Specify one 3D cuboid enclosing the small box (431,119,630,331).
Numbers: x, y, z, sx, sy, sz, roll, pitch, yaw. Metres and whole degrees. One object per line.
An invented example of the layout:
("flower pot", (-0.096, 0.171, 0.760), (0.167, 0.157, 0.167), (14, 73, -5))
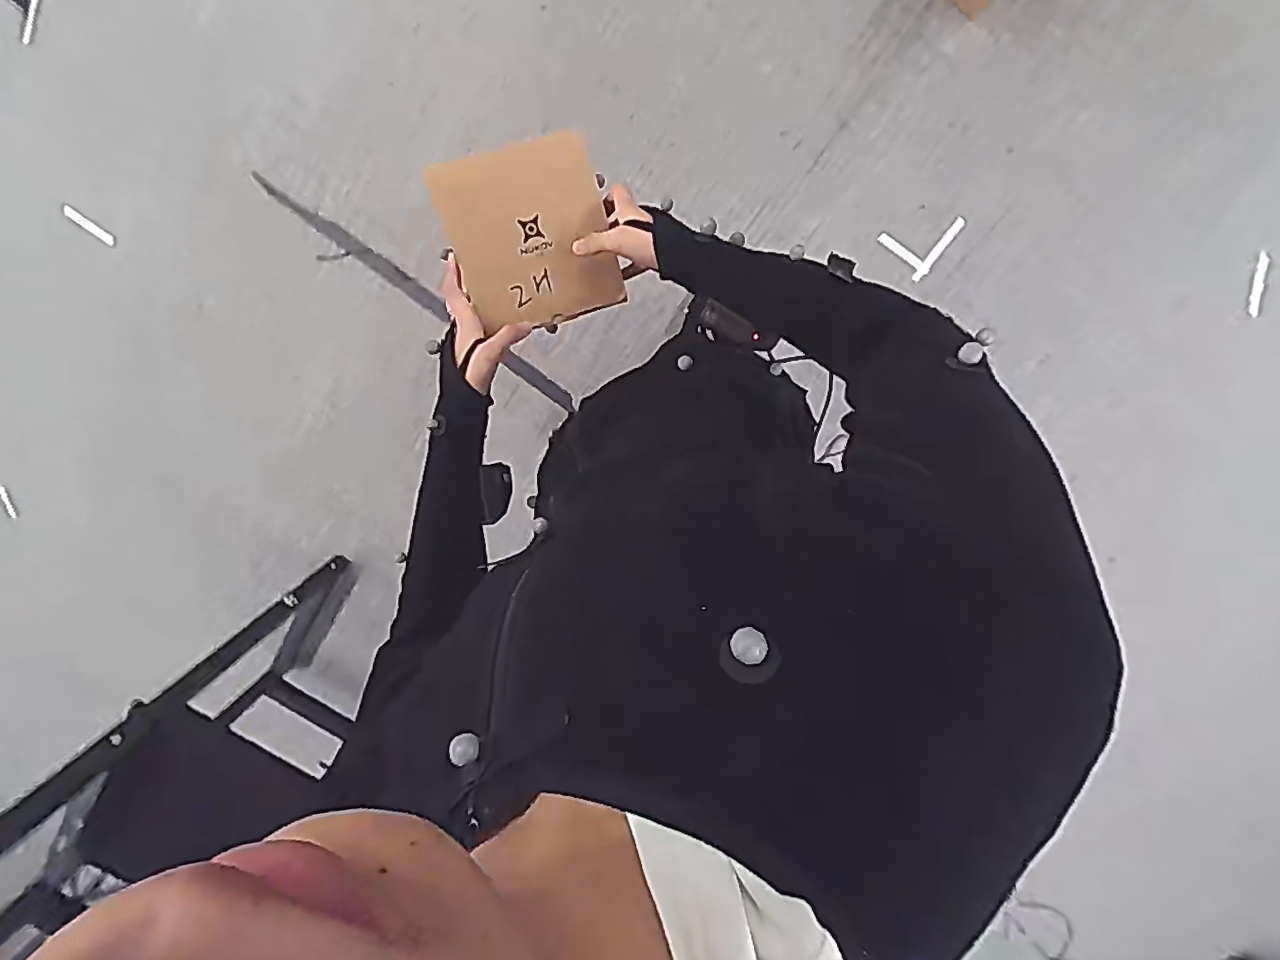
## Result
("small box", (-0.126, -0.282, 0.630), (0.168, 0.176, 0.179), (-18, 111, -8))
